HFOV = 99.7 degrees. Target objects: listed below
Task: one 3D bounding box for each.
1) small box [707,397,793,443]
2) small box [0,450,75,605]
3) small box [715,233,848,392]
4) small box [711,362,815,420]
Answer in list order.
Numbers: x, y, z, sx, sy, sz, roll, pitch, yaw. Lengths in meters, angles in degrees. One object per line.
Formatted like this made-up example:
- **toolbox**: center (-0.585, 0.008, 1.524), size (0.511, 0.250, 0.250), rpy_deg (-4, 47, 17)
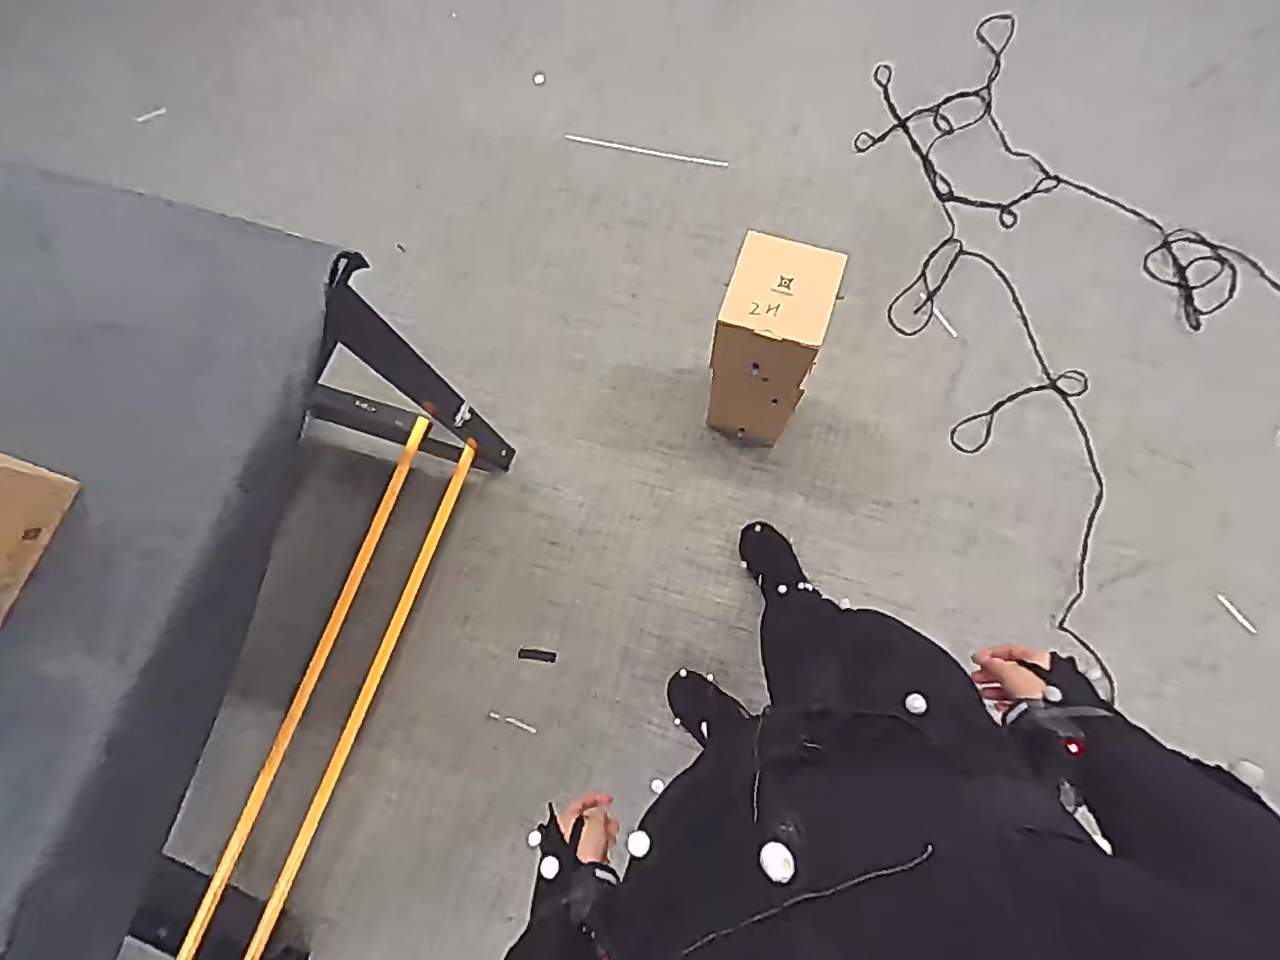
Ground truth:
- **small box**: center (0.264, -0.199, 1.240), size (0.179, 0.176, 0.168), rpy_deg (20, 77, 7)
- **small box**: center (-0.714, 0.033, 0.507), size (0.179, 0.176, 0.168), rpy_deg (17, 77, 9)
- **small box**: center (0.231, -0.279, 0.925), size (0.168, 0.176, 0.179), rpy_deg (18, 77, 9)
- **small box**: center (0.250, -0.236, 1.084), size (0.179, 0.176, 0.168), rpy_deg (16, 77, 9)
